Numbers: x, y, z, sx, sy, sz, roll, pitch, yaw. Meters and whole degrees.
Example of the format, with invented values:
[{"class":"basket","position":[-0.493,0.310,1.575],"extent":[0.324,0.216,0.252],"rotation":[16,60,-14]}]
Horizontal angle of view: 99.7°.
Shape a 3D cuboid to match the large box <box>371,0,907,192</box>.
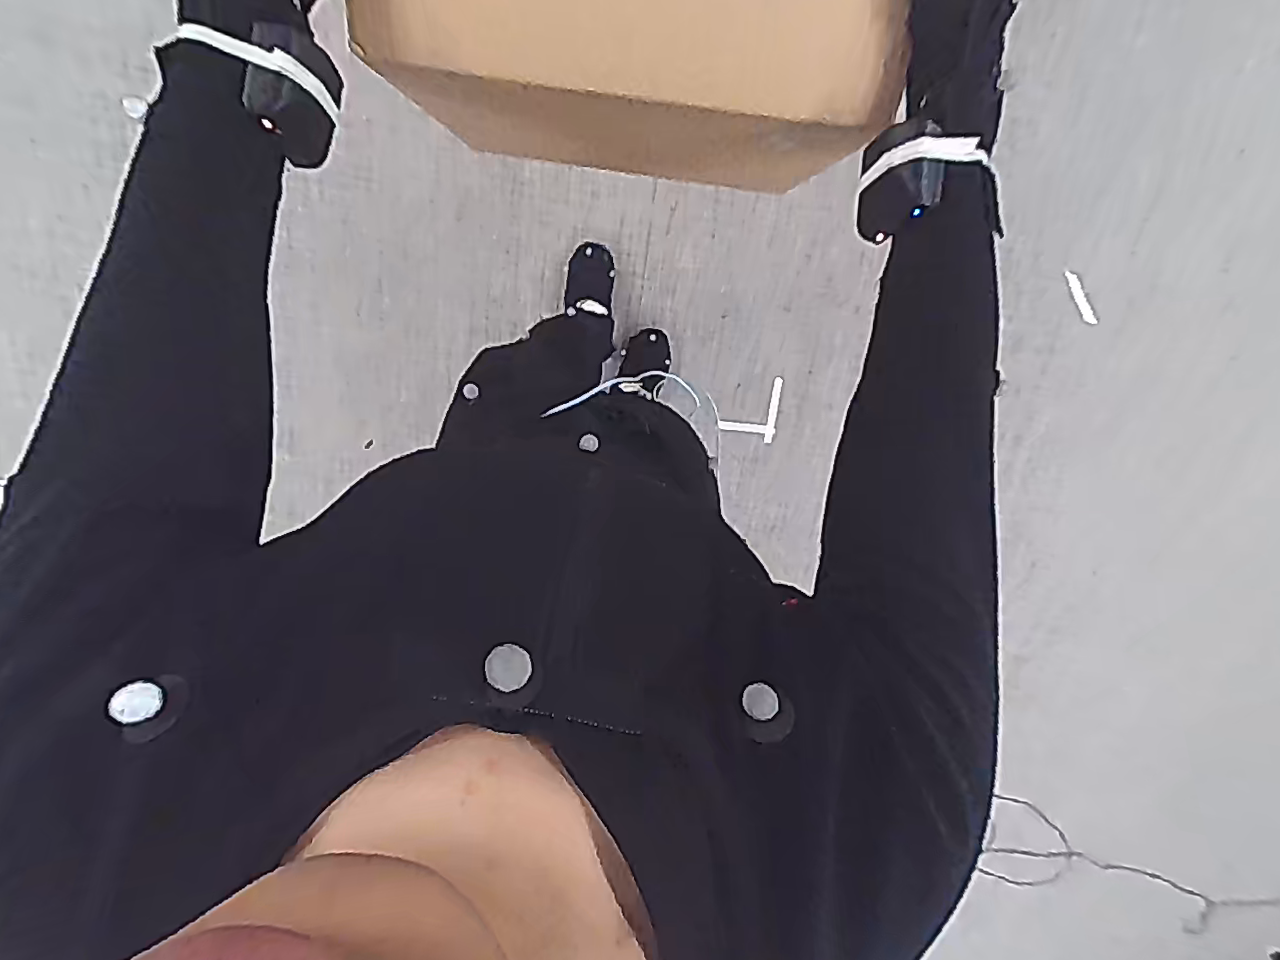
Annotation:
[{"class":"large box","position":[0.007,-0.490,0.511],"extent":[0.408,0.320,0.320],"rotation":[6,110,-4]}]
